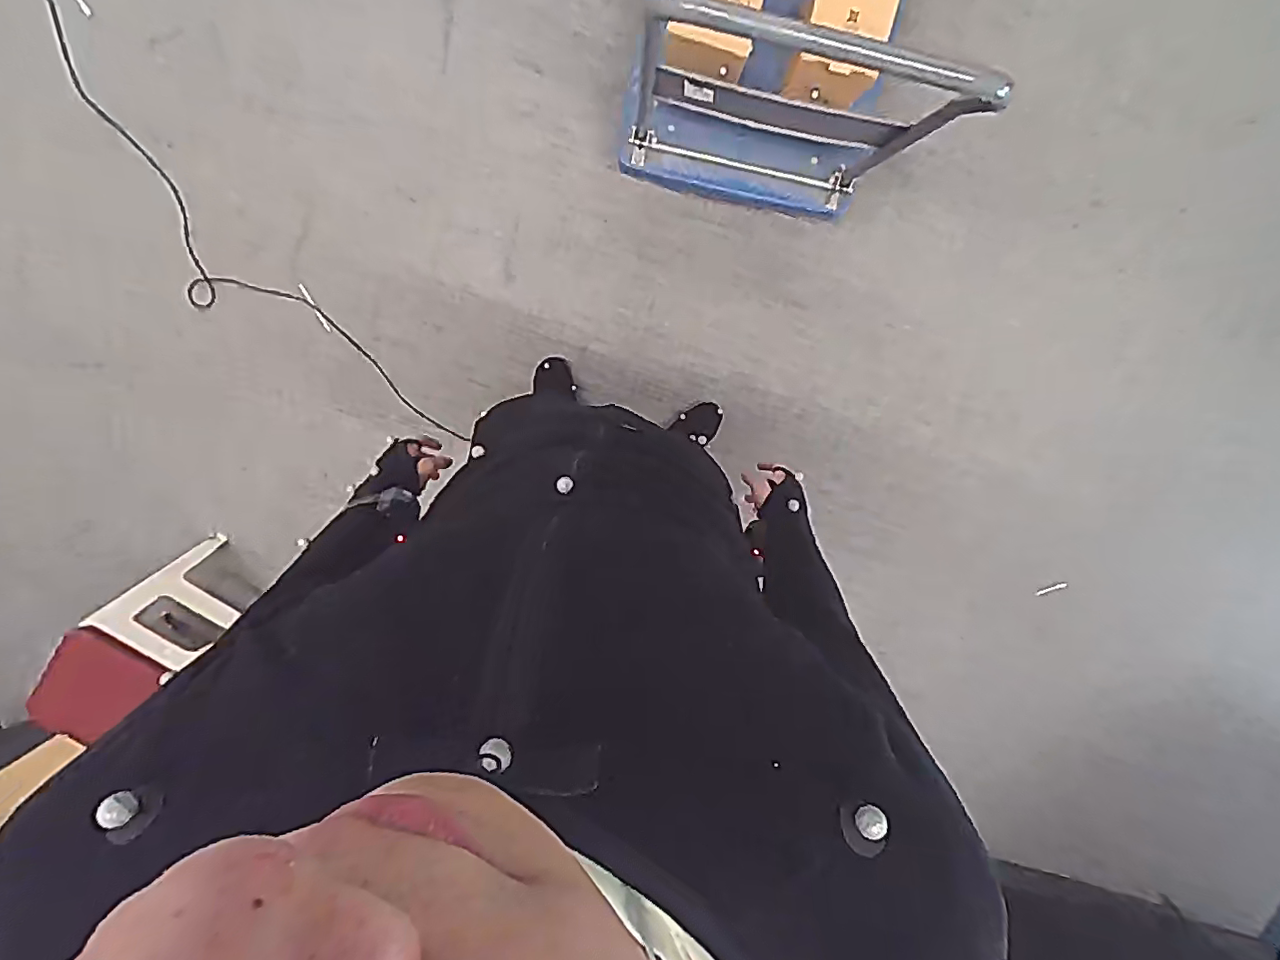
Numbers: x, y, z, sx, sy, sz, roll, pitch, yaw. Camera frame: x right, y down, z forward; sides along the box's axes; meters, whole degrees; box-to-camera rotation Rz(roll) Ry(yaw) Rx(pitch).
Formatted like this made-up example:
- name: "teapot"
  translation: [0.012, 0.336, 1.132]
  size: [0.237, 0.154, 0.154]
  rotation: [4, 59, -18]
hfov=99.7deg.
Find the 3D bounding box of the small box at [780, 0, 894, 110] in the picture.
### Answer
- name: "small box"
  translation: [0.420, -0.951, 1.177]
  size: [0.168, 0.176, 0.179]
  rotation: [11, 104, -4]
